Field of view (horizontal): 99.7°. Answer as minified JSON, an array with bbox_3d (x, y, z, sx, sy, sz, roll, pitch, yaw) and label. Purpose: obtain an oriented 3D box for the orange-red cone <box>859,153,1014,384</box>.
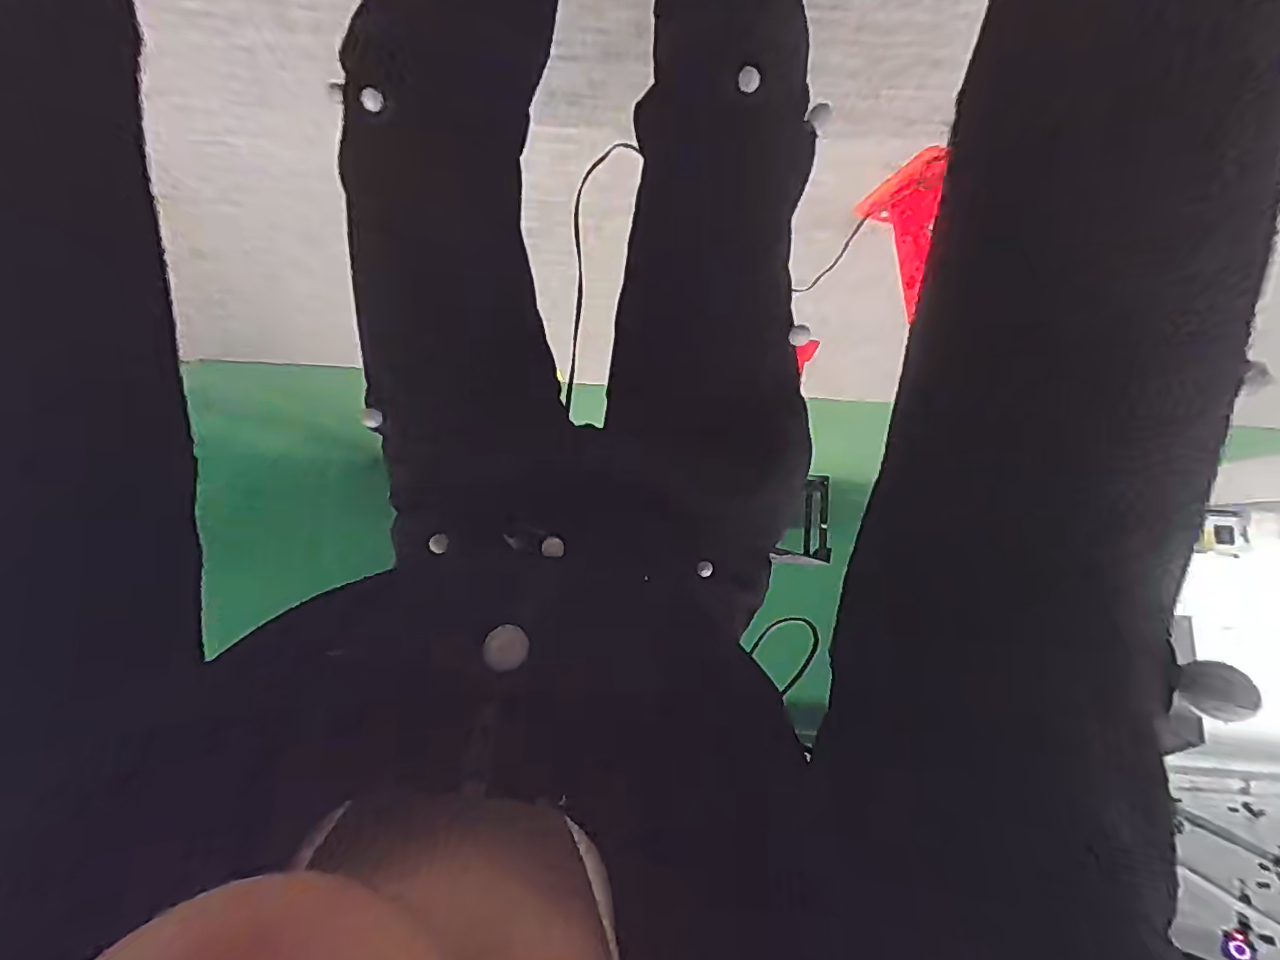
[{"bbox_3d":[0.530,-0.351,0.978,0.199,0.360,0.198,5,173,-18],"label":"orange-red cone"}]
